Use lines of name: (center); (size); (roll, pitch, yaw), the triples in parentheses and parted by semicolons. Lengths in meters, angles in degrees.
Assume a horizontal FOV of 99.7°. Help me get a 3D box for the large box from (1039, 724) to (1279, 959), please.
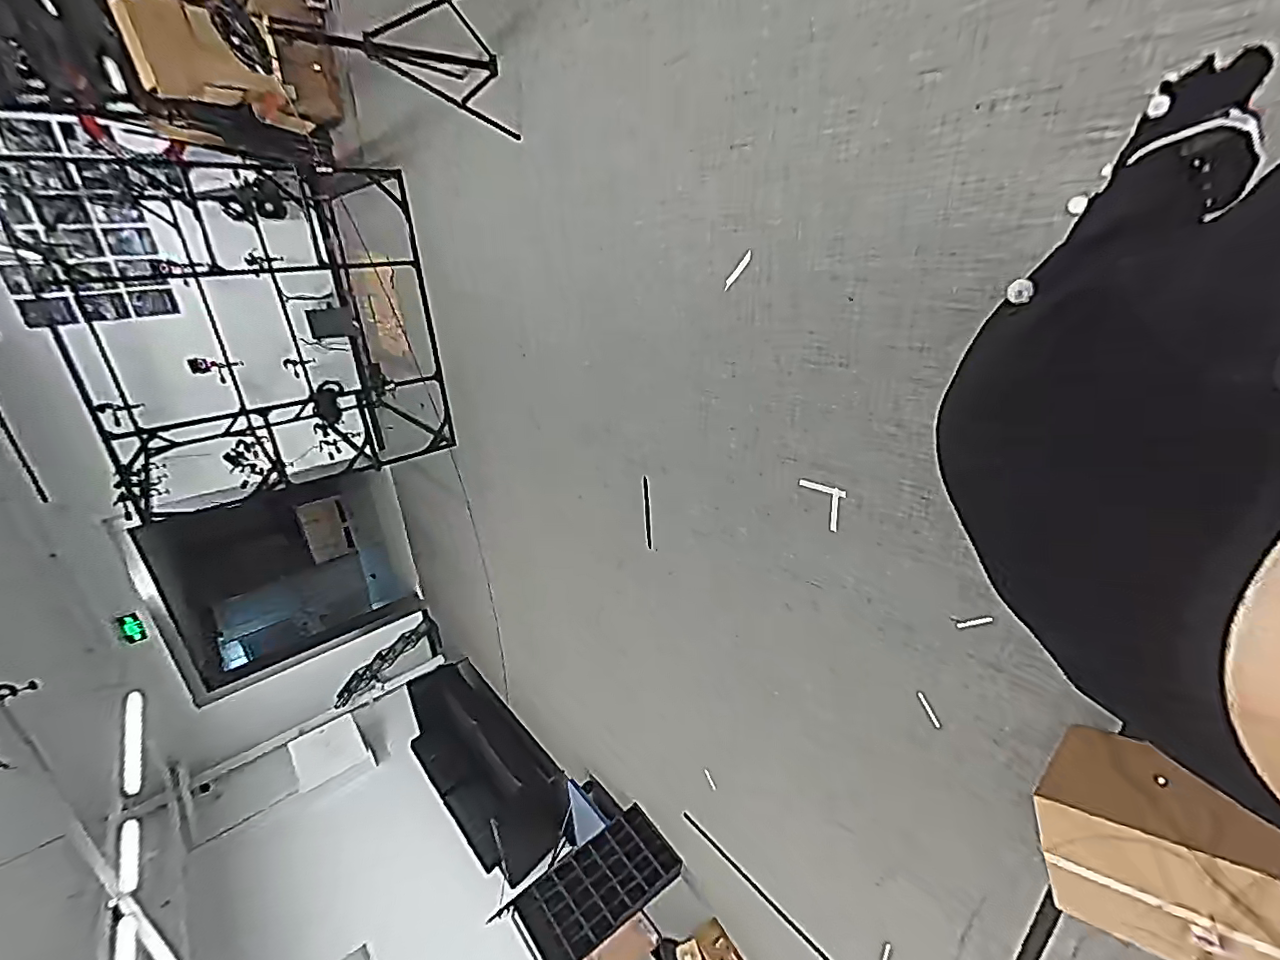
large box: (1.201, 0.810, 1.209); (0.408, 0.320, 0.320); (-7, 102, 53)
